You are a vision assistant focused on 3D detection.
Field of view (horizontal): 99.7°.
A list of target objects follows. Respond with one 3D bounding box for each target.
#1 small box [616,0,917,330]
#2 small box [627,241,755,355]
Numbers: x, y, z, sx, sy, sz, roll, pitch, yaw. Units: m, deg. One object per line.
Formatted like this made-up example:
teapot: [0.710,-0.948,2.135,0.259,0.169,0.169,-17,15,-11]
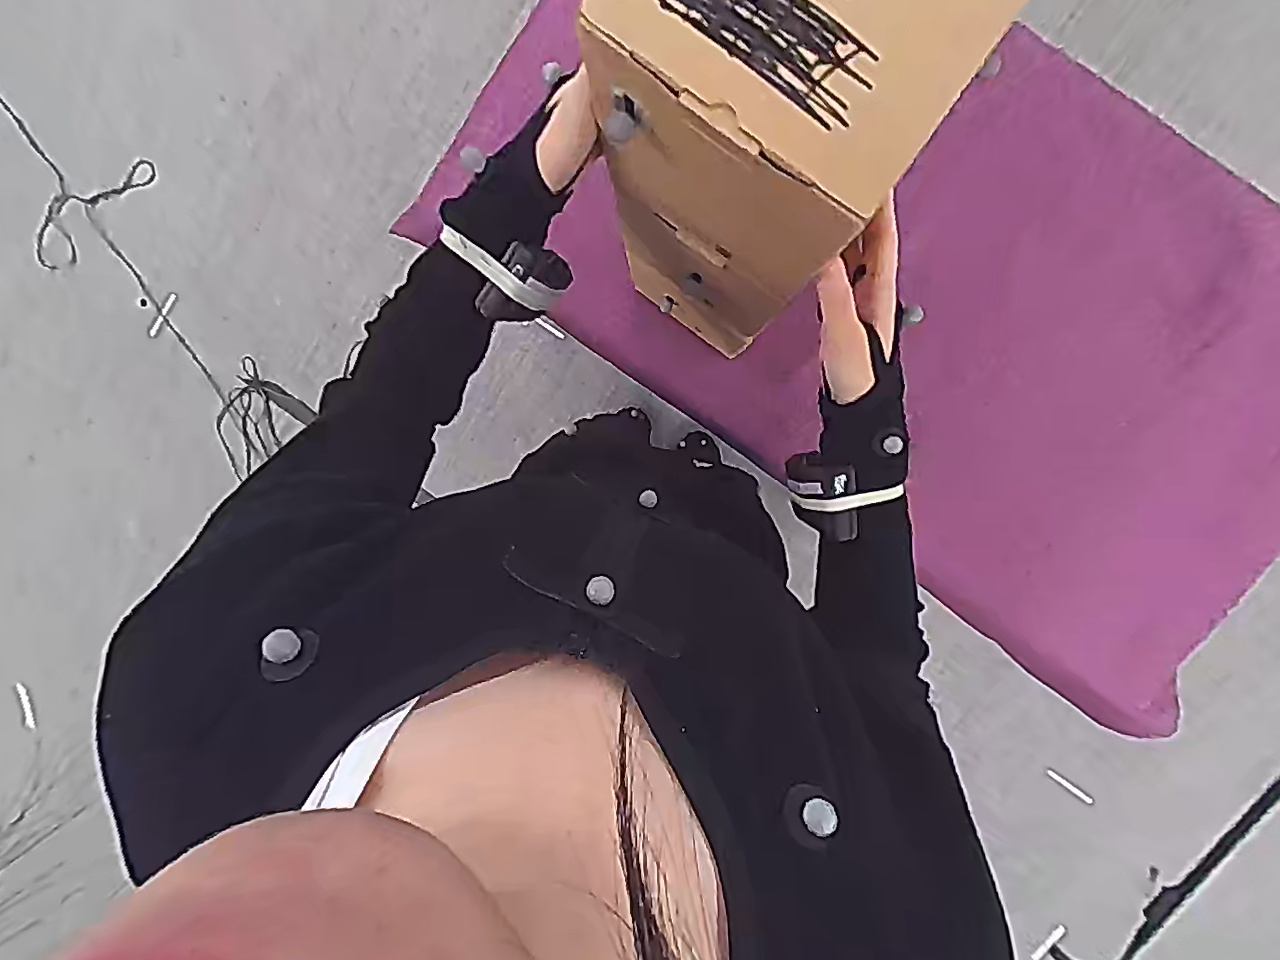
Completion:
small box: [0.099,-0.259,0.490,0.168,0.176,0.179,34,97,-2]
small box: [0.104,-0.271,0.653,0.168,0.176,0.179,36,96,-2]
